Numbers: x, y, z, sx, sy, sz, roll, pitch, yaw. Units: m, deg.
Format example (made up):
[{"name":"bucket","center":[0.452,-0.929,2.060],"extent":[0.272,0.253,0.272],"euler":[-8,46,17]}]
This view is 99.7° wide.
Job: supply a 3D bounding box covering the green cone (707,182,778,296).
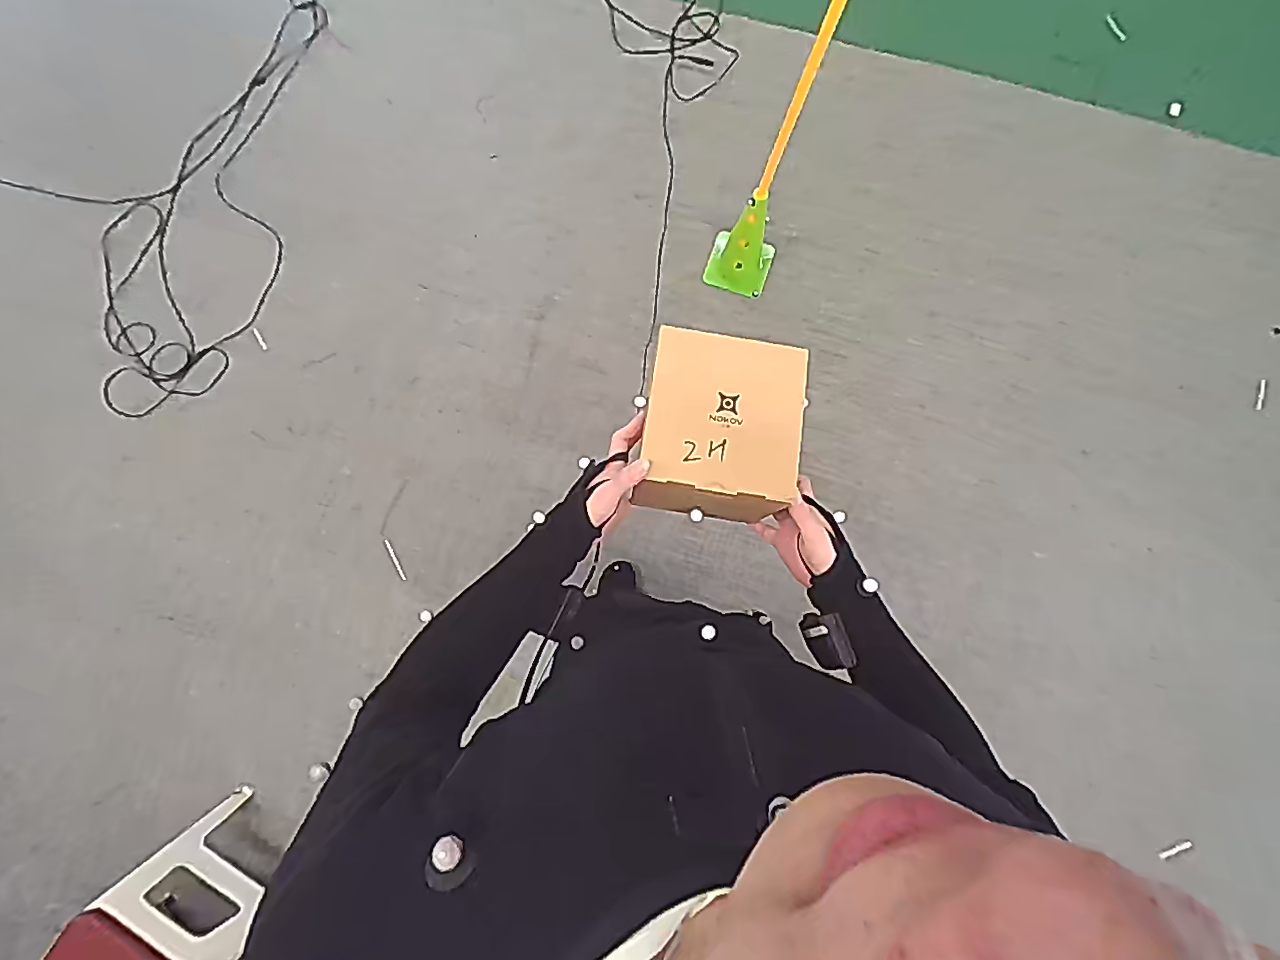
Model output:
[{"name":"green cone","center":[0.332,-0.742,1.605],"extent":[0.202,0.368,0.200],"euler":[18,81,5]}]
